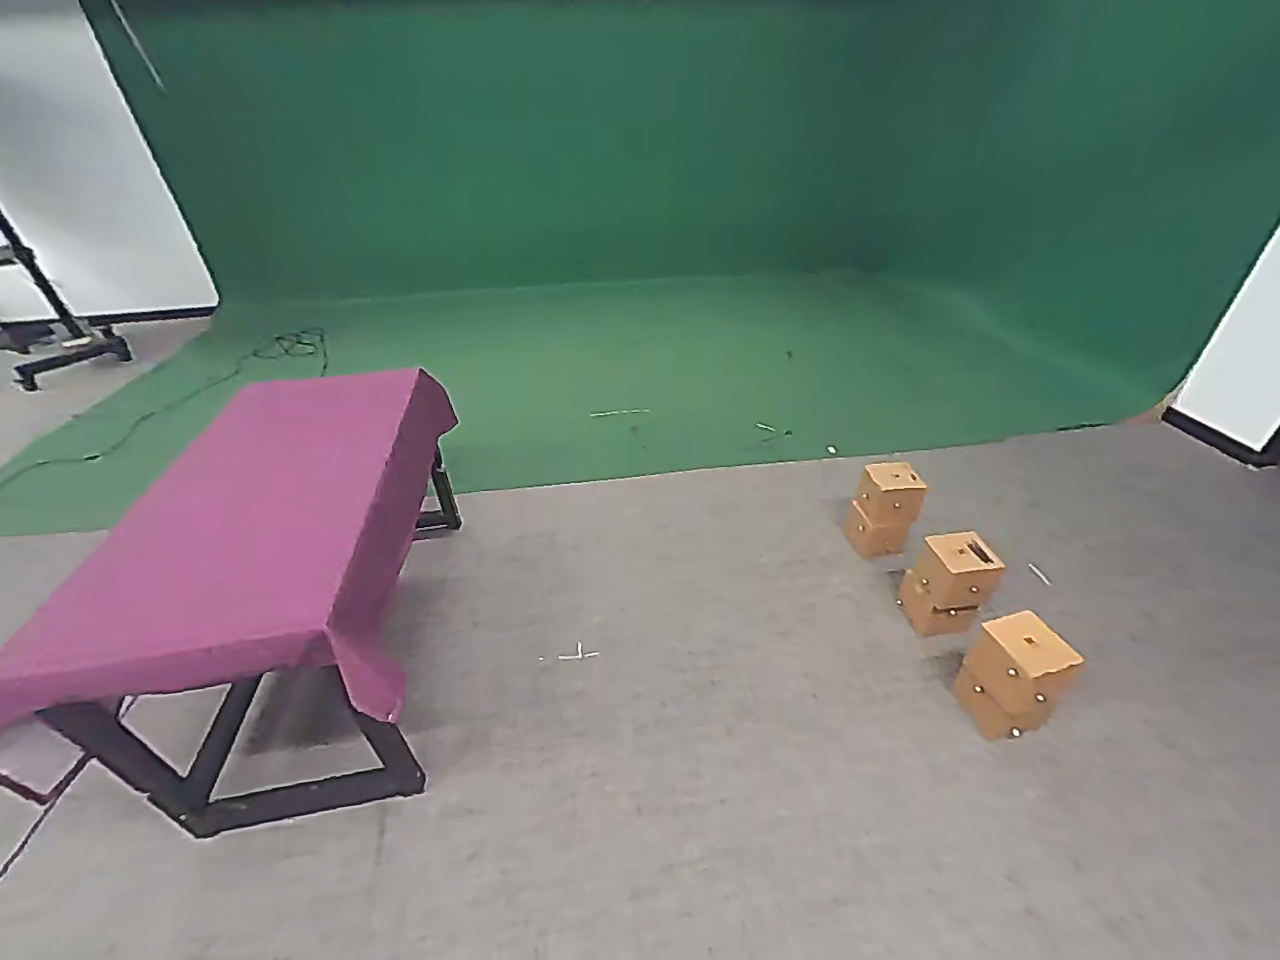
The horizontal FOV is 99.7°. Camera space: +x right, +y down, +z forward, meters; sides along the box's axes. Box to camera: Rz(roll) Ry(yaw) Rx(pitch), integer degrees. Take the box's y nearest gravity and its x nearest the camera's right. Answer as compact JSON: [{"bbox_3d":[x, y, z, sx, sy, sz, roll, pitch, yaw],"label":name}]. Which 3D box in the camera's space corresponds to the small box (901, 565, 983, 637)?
[{"bbox_3d":[1.022,0.417,1.851,0.179,0.176,0.168,-6,37,-5],"label":"small box"}]

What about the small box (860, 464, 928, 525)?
[{"bbox_3d":[0.960,0.058,2.067,0.179,0.176,0.168,-5,37,-2],"label":"small box"}]

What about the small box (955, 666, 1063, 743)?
[{"bbox_3d":[1.054,0.625,1.566,0.168,0.176,0.179,-8,37,-6],"label":"small box"}]

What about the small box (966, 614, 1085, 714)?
[{"bbox_3d":[1.032,0.498,1.466,0.168,0.176,0.179,-11,37,-10],"label":"small box"}]

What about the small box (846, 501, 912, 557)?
[{"bbox_3d":[0.949,0.194,2.161,0.168,0.176,0.179,-6,36,-6],"label":"small box"}]
